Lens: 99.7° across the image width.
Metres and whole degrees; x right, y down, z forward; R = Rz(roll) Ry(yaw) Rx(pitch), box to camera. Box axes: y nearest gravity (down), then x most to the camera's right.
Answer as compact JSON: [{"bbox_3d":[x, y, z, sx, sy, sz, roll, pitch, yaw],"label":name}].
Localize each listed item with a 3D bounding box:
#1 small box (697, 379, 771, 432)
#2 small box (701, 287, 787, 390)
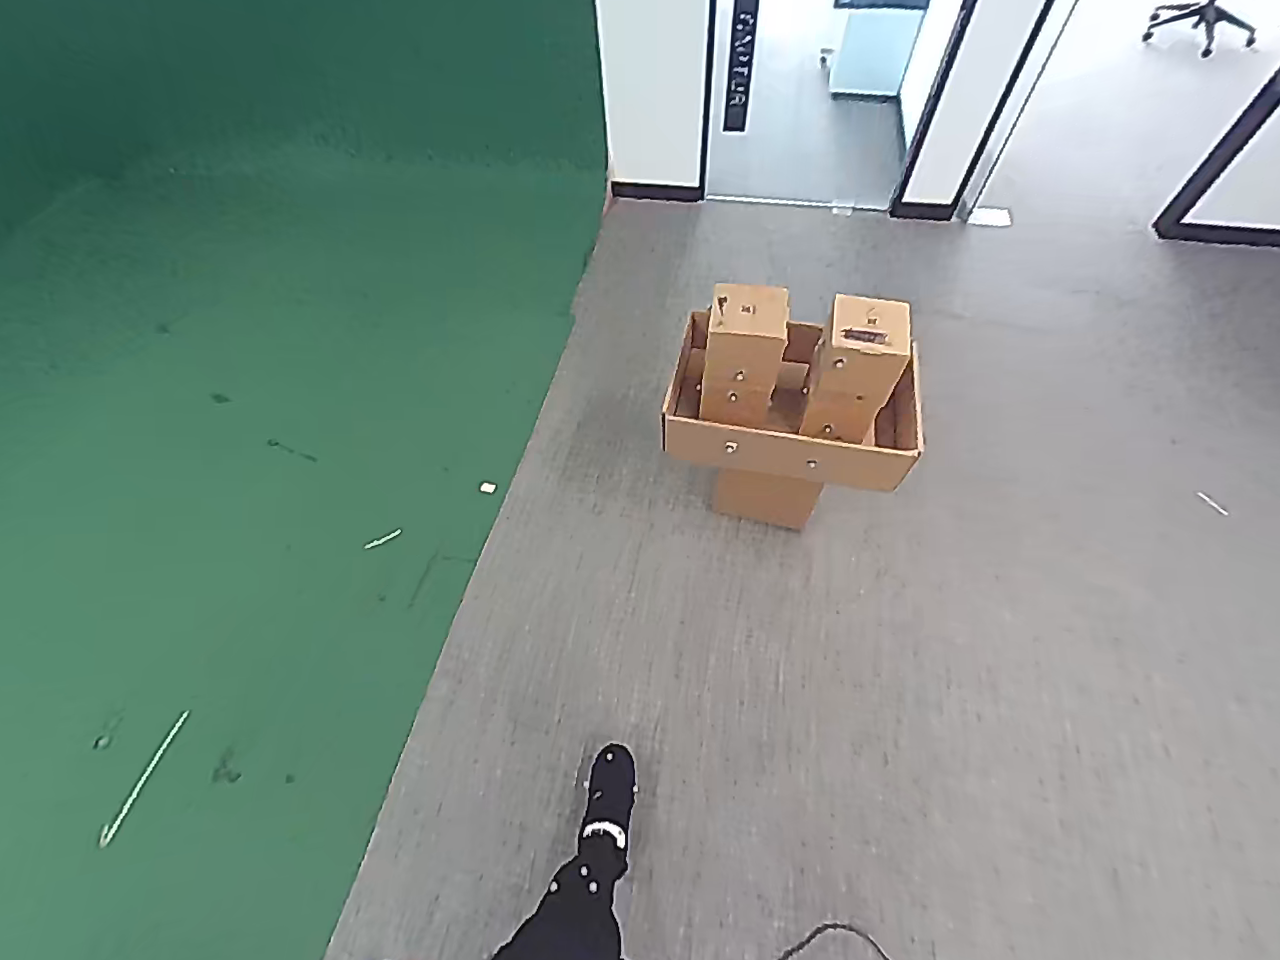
[{"bbox_3d":[0.252,-0.247,1.441,0.179,0.176,0.168,10,58,7],"label":"small box"},{"bbox_3d":[0.247,-0.336,1.302,0.179,0.176,0.168,8,58,7],"label":"small box"}]
